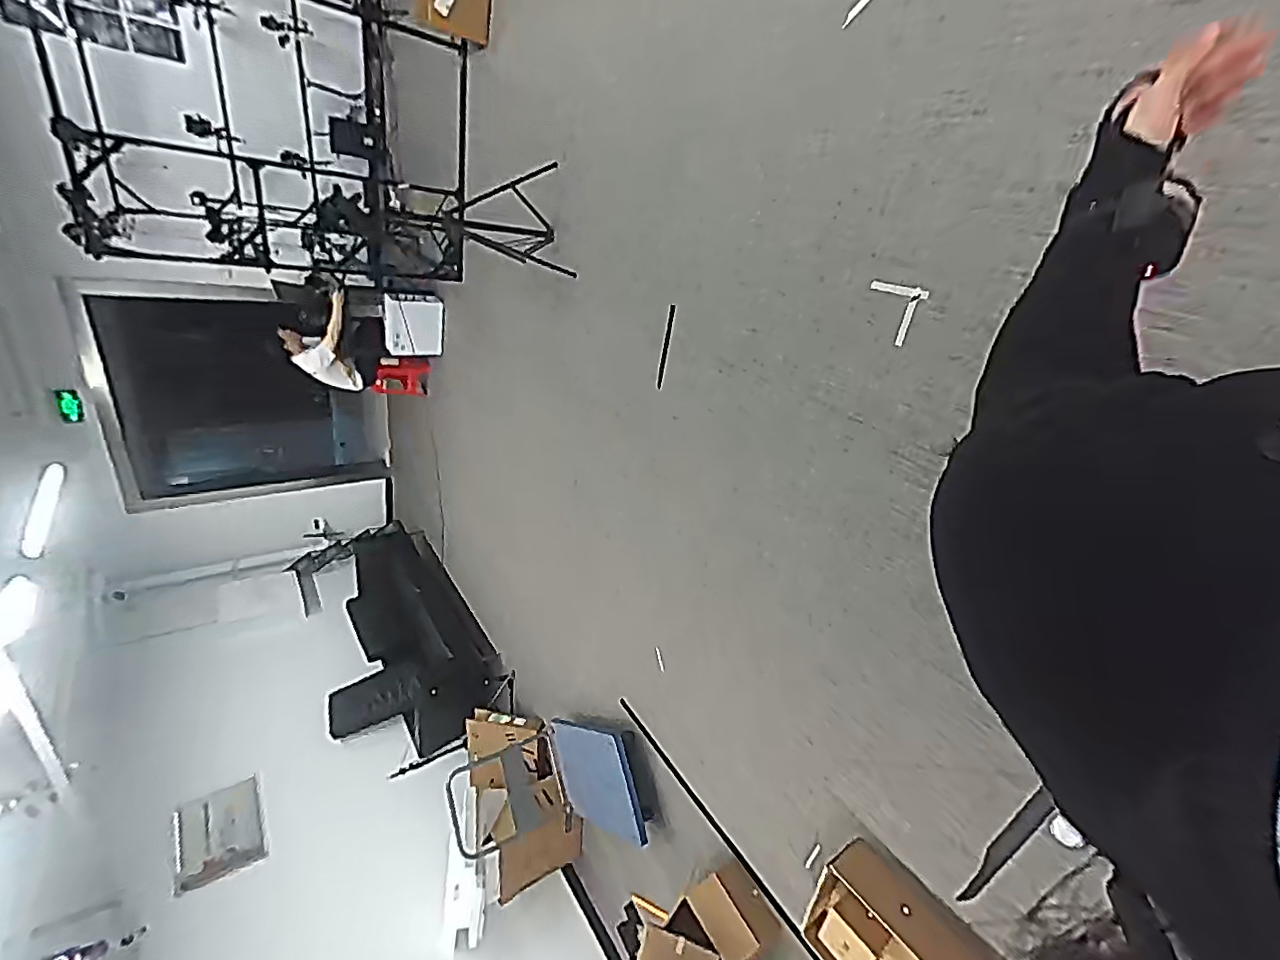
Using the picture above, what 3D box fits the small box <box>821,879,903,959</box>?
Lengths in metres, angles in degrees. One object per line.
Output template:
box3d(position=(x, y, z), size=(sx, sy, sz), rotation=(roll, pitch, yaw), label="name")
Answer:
box3d(position=(0.735, 1.479, 1.784), size=(0.168, 0.176, 0.179), rotation=(35, 126, 45), label="small box")
